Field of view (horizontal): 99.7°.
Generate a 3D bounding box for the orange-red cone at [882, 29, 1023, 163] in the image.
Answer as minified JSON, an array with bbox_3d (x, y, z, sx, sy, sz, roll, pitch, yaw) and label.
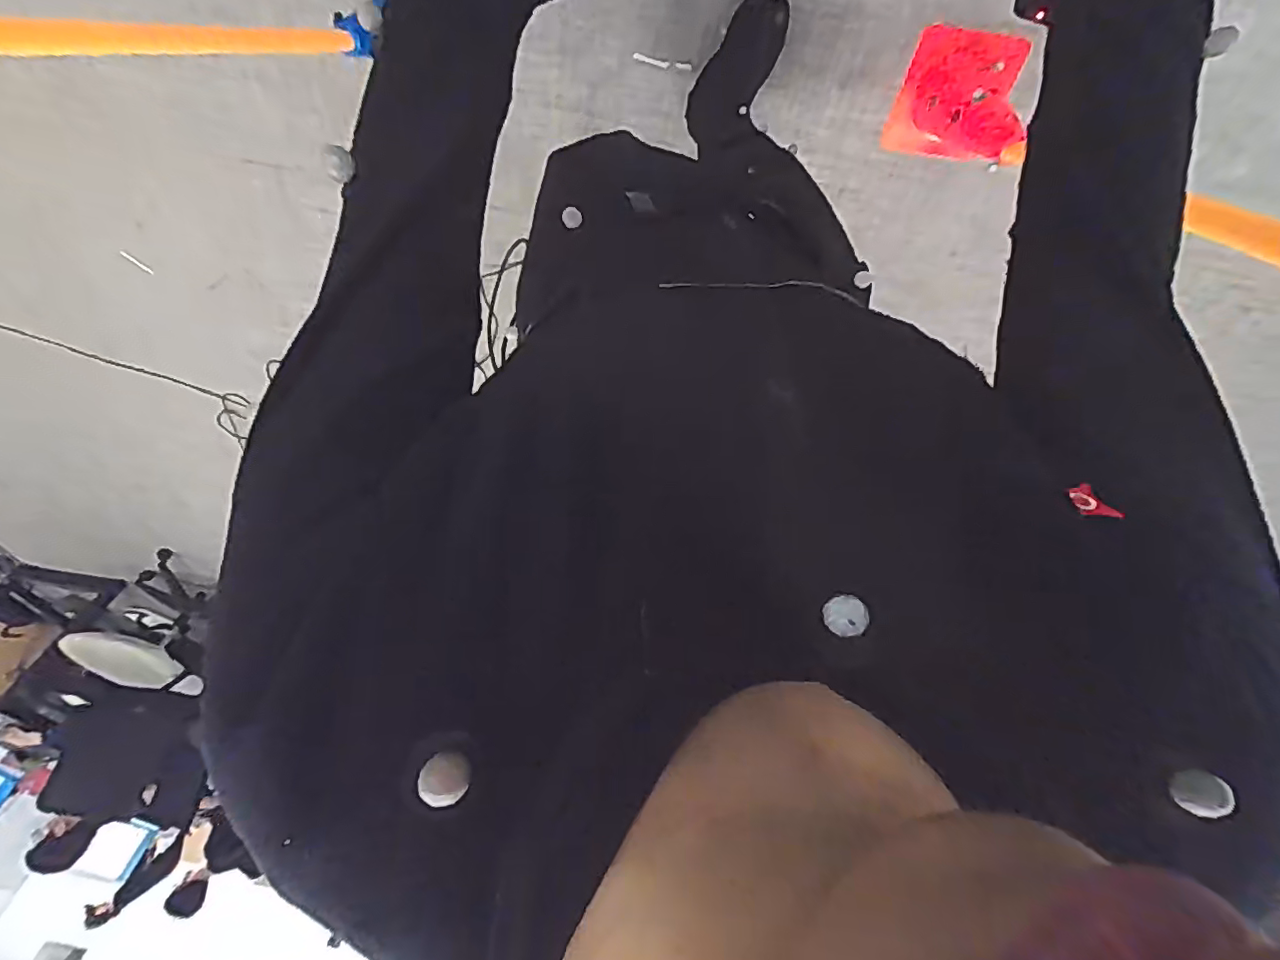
[{"bbox_3d":[0.577,-0.622,0.938,0.199,0.360,0.198,12,136,1],"label":"orange-red cone"}]
